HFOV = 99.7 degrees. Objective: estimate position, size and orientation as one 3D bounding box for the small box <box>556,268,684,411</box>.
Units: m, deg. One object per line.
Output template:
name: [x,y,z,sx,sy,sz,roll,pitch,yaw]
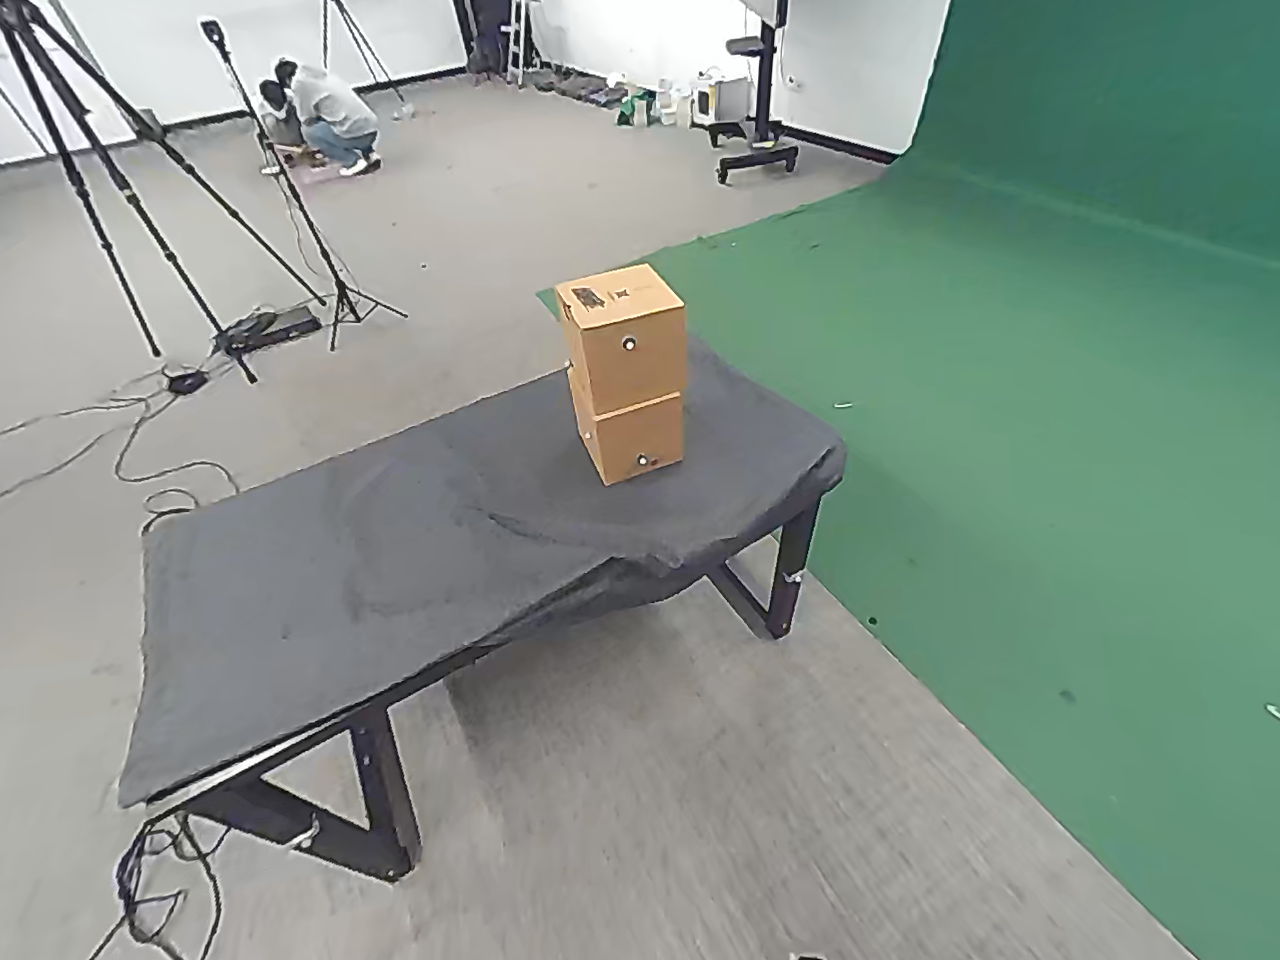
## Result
small box: [-0.031,-0.244,0.952,0.179,0.176,0.168,-18,48,-11]
